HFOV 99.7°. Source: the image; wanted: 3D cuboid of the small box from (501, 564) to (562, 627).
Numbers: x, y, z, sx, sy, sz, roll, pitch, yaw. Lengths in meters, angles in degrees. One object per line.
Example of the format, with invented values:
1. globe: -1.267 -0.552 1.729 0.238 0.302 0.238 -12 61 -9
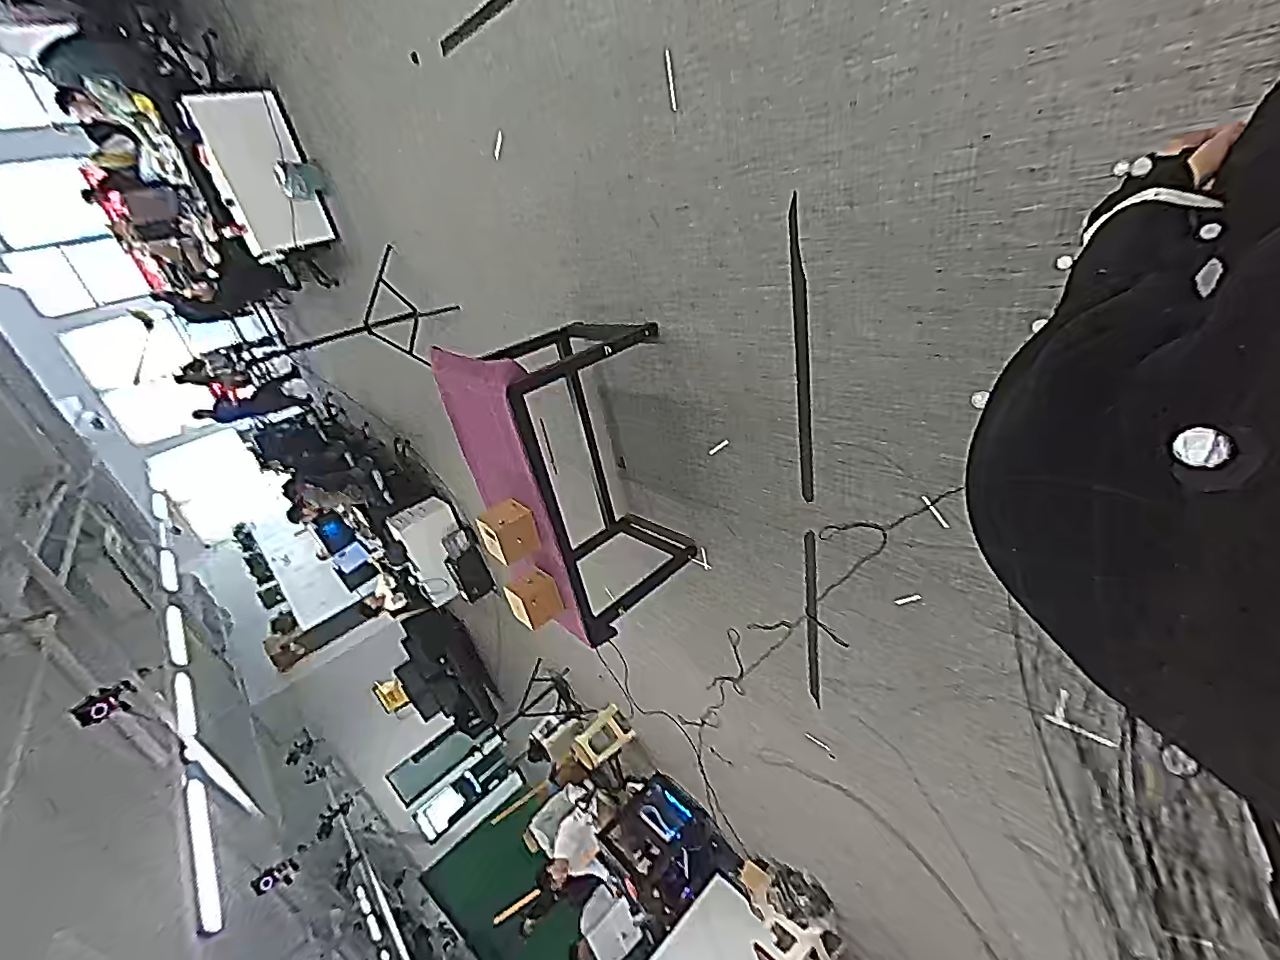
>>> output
1. small box: -0.462 0.487 2.323 0.168 0.176 0.179 18 131 48
